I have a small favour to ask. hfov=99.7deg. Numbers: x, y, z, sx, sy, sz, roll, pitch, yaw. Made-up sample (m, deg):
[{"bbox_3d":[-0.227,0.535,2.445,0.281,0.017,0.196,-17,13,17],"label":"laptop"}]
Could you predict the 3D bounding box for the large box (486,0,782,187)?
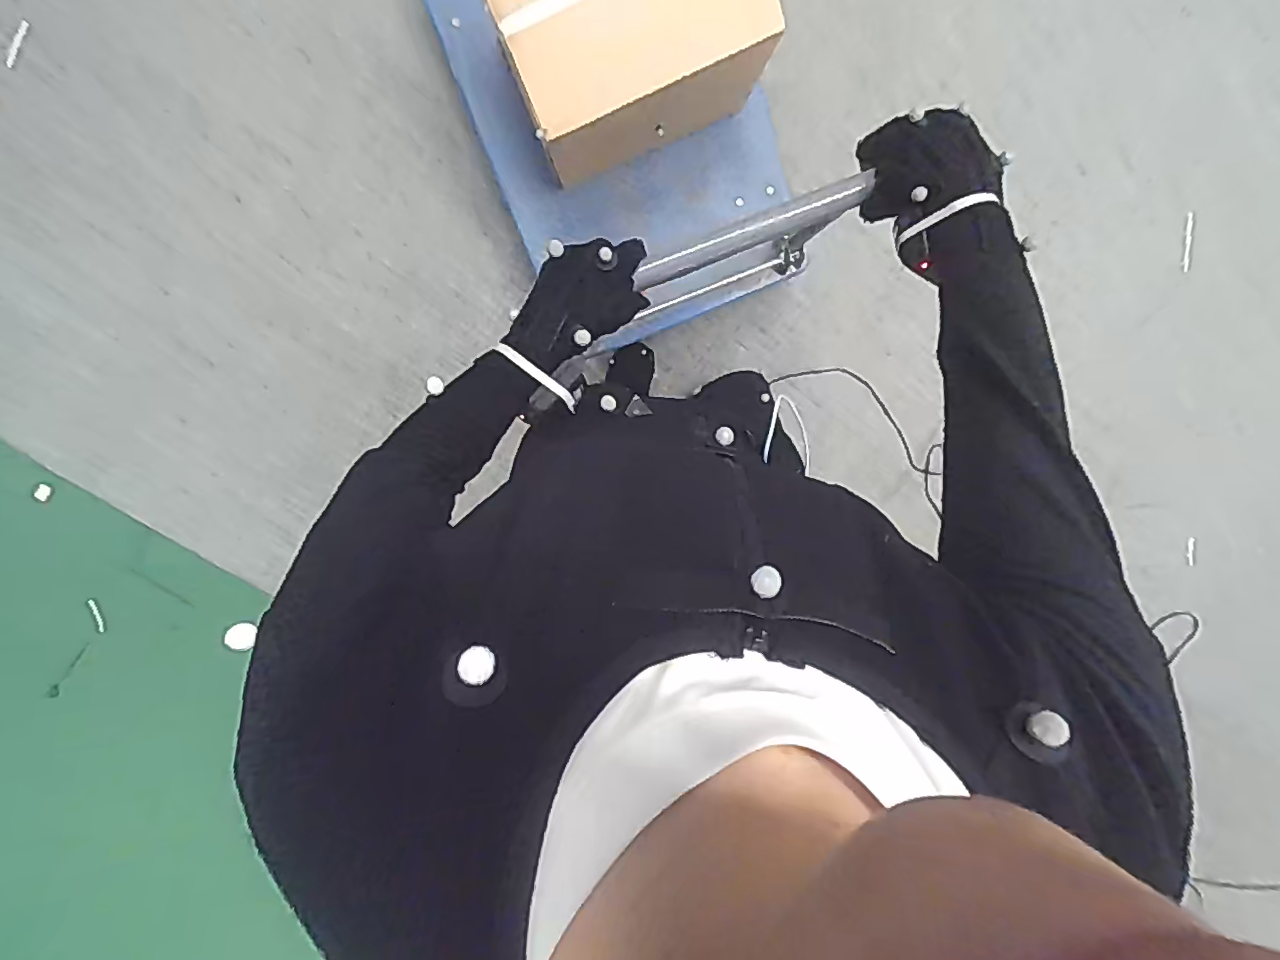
[{"bbox_3d":[-0.025,-0.788,0.949,0.408,0.320,0.320,-24,104,5],"label":"large box"}]
